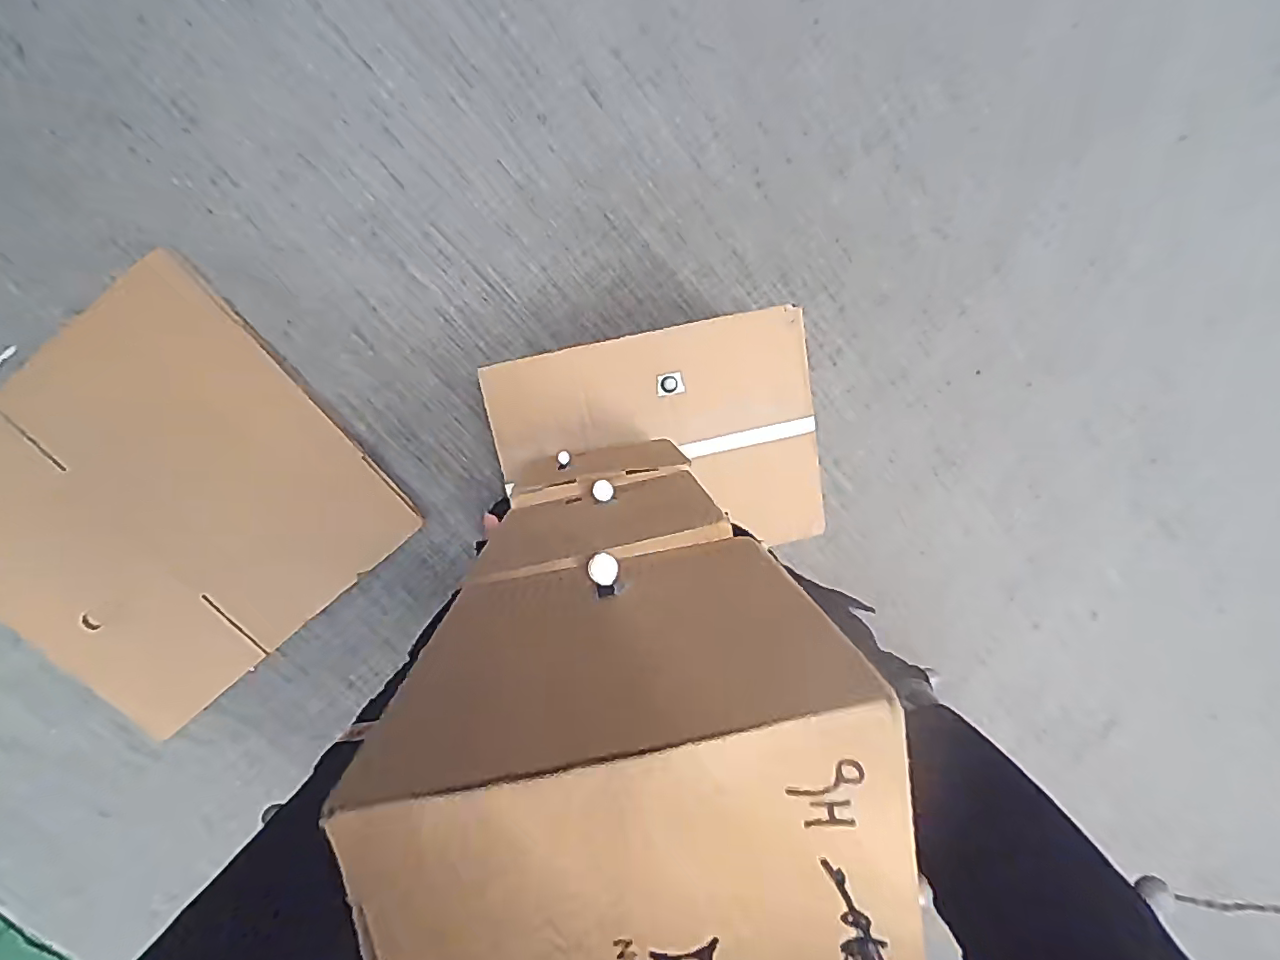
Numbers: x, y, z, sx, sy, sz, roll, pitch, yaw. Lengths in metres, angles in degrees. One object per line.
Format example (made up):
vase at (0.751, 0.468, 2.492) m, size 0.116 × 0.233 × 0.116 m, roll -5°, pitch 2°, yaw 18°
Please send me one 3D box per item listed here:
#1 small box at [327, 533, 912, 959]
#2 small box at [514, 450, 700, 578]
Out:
small box at (-0.002, 0.138, 0.262) m, size 0.179 × 0.176 × 0.168 m, roll -14°, pitch 100°, yaw -2°
small box at (-0.027, 0.069, 0.579) m, size 0.168 × 0.176 × 0.179 m, roll -10°, pitch 103°, yaw -1°
